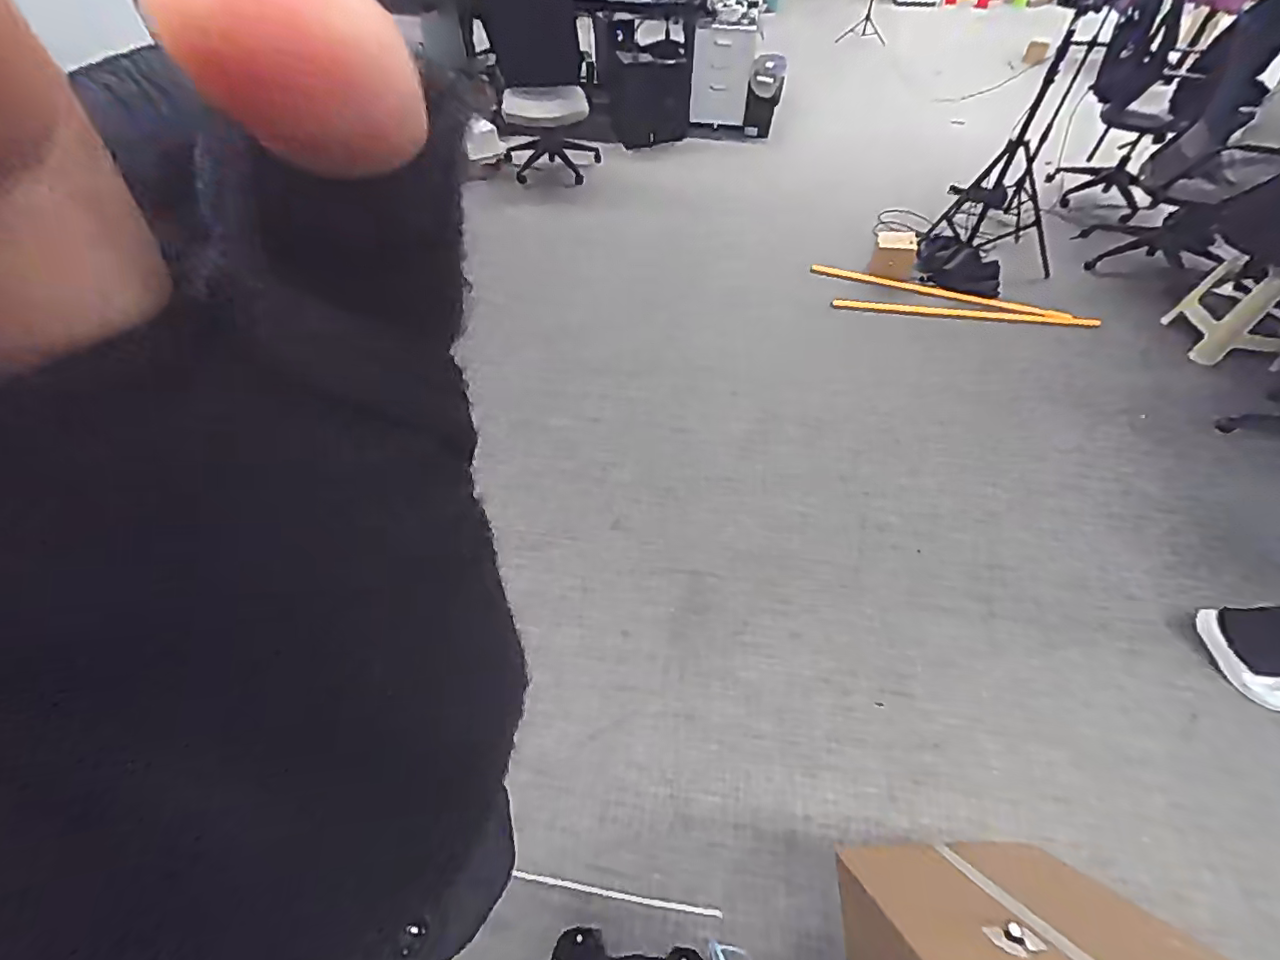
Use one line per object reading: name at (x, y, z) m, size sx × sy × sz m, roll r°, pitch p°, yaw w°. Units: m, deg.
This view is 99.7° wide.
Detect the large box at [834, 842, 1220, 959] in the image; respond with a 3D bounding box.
large box at (0.451, 0.664, 0.608) m, size 0.320 × 0.408 × 0.320 m, roll -2°, pitch 76°, yaw 0°
